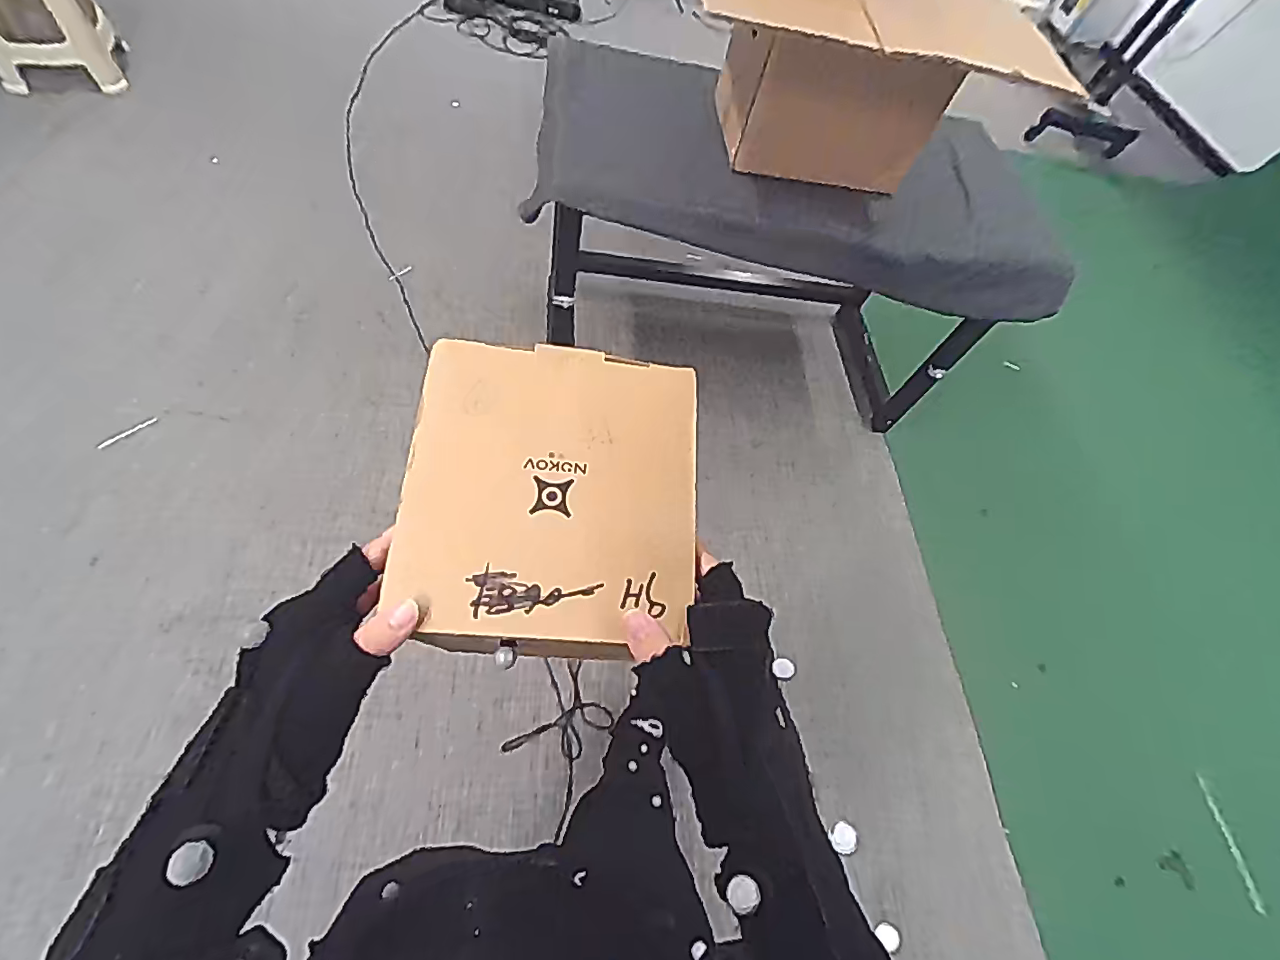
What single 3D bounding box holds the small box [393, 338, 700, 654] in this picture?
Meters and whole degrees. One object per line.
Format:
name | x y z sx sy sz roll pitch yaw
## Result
small box | -0.056 0.026 0.396 0.168 0.176 0.179 6 68 -6
